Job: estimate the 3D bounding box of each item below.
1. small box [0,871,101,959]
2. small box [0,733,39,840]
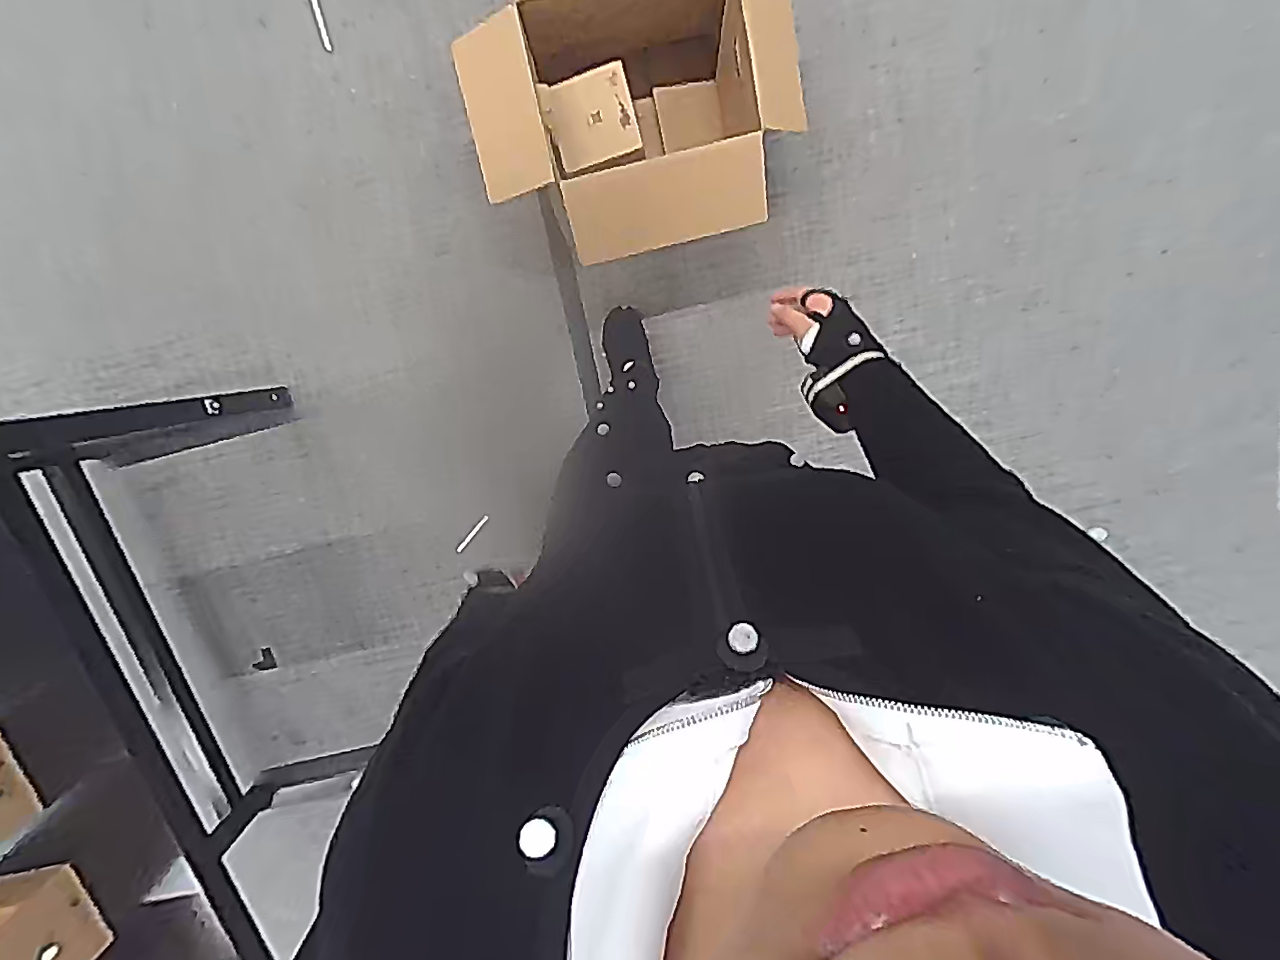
[{"bbox_3d":[-0.982,0.732,0.813,0.179,0.176,0.168,-13,103,3],"label":"small box"},{"bbox_3d":[-1.032,0.479,0.752,0.179,0.176,0.168,-13,104,2],"label":"small box"}]
